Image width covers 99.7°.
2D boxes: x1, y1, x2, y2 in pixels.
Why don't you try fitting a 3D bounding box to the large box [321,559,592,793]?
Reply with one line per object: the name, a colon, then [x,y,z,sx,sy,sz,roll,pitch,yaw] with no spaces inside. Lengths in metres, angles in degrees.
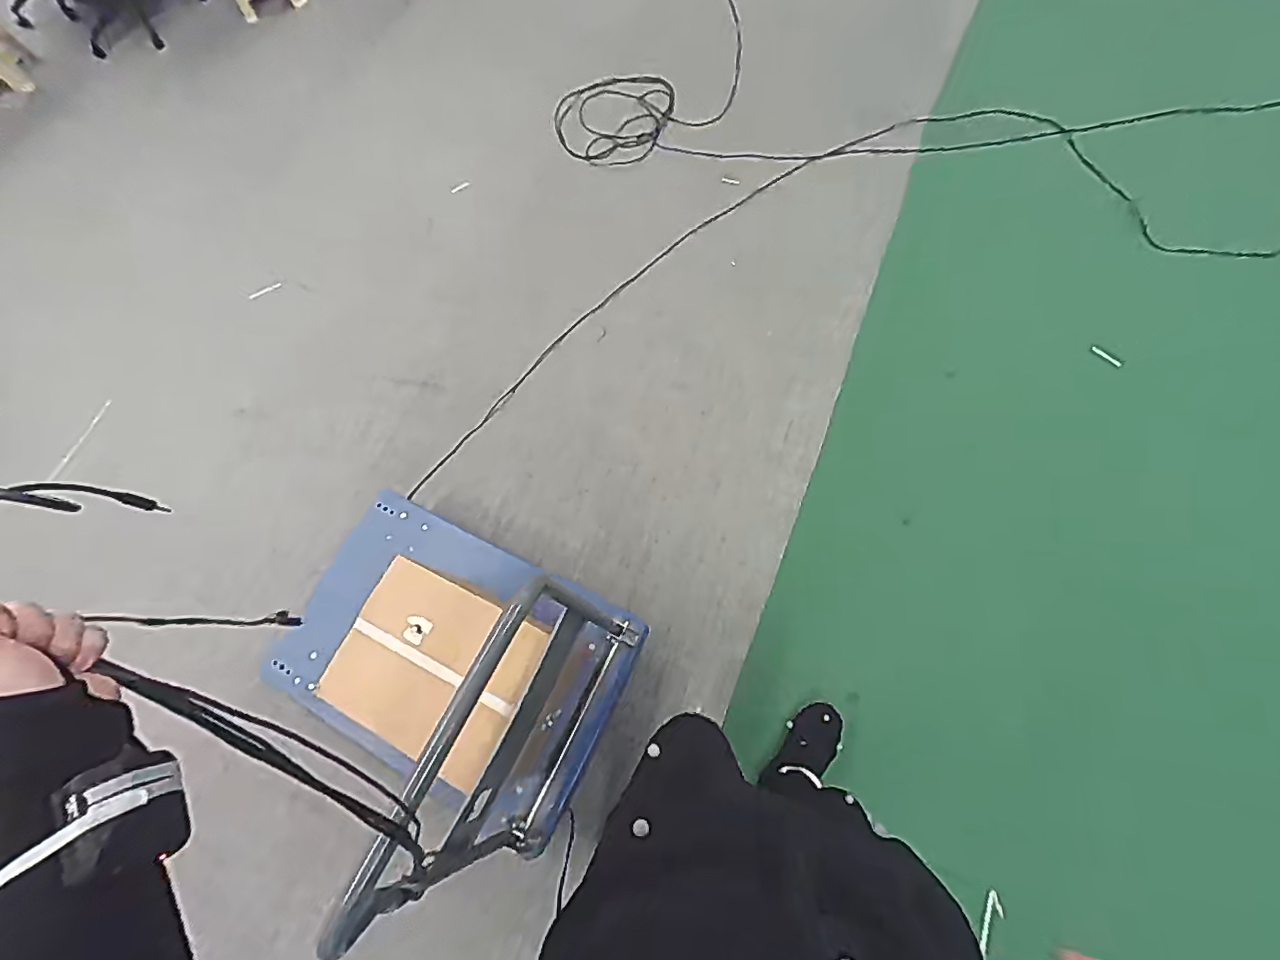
large box: [-0.375,0.418,1.199,0.408,0.320,0.320,22,74,17]
